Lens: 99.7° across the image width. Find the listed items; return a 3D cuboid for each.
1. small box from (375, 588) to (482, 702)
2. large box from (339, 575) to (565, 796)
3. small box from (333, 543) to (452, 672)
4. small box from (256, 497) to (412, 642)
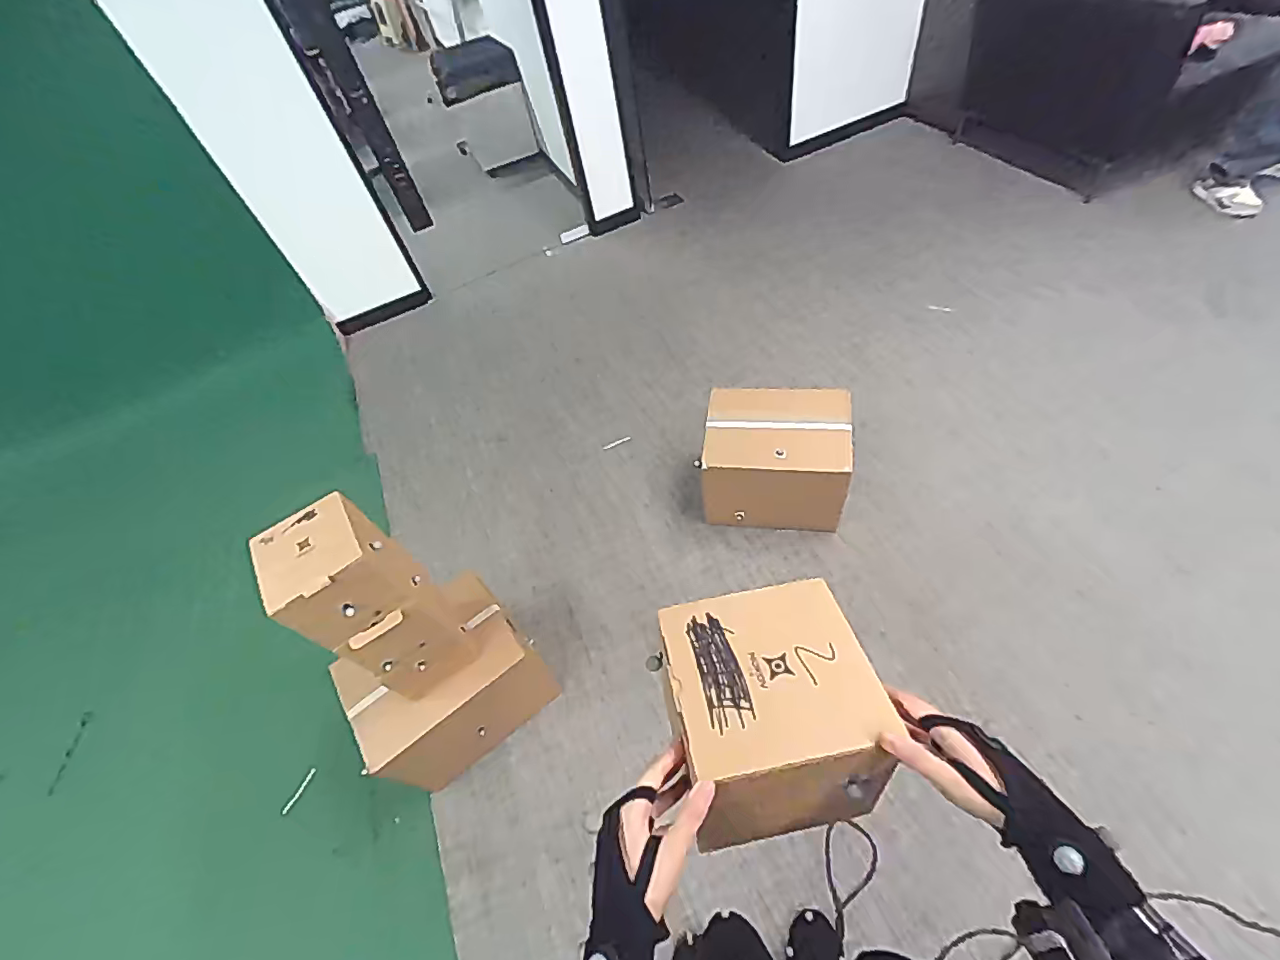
[{"bbox_3d":[-0.491,0.373,1.228,0.179,0.176,0.168,-33,55,-14],"label":"small box"},{"bbox_3d":[-0.472,0.536,1.412,0.408,0.320,0.320,-37,53,-14],"label":"large box"},{"bbox_3d":[-0.512,0.268,1.105,0.168,0.176,0.179,-31,54,-12],"label":"small box"},{"bbox_3d":[-0.543,0.170,0.976,0.168,0.176,0.179,-32,56,-14],"label":"small box"}]
